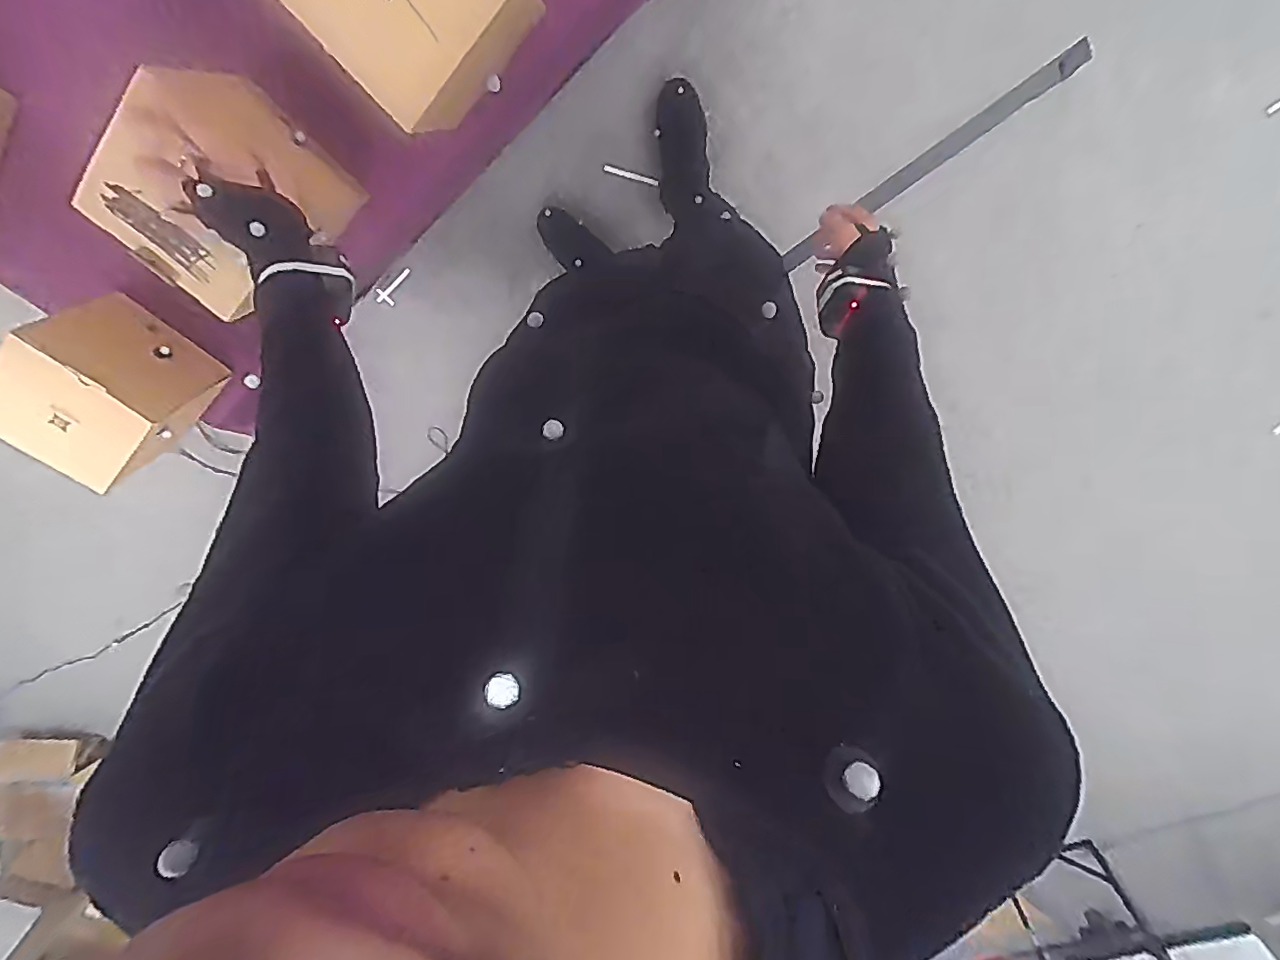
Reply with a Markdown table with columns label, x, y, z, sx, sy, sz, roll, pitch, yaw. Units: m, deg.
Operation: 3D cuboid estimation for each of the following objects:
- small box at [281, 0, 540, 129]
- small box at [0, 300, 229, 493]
| label | x | y | z | sx | sy | sz | roll | pitch | yaw |
| --- | --- | --- | --- | --- | --- | --- | --- | --- | --- |
| small box | -0.220 | -0.475 | 0.518 | 0.168 | 0.176 | 0.179 | -36 | 118 | 23 |
| small box | -0.738 | -0.121 | 0.765 | 0.179 | 0.176 | 0.168 | -37 | 117 | 21 |
